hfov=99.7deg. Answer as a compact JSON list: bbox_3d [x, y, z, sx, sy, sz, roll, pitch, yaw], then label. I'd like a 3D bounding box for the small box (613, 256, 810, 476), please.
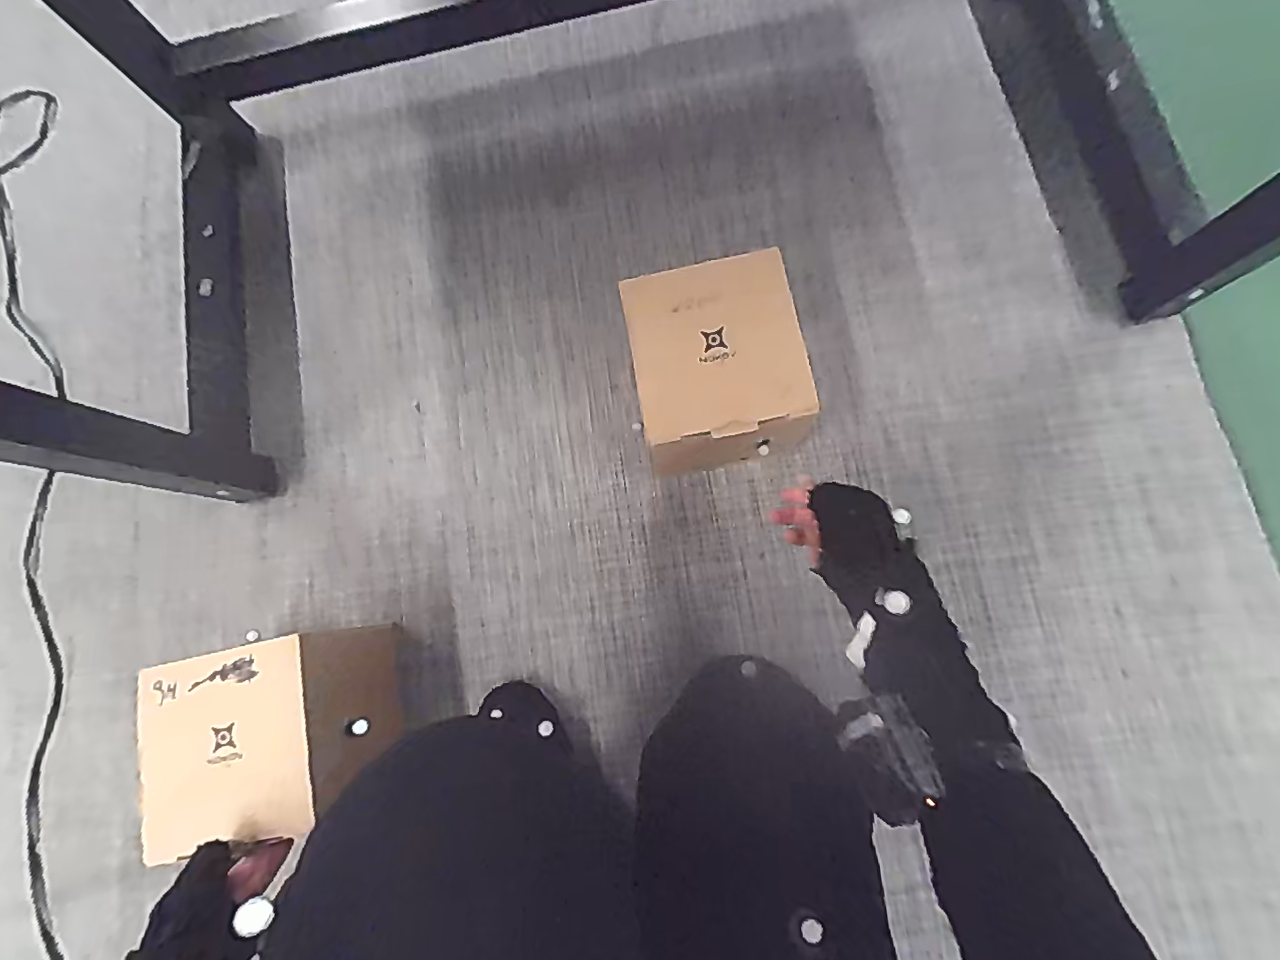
[{"bbox_3d":[0.074,-0.110,0.604,0.168,0.176,0.179,-12,77,2],"label":"small box"}]
